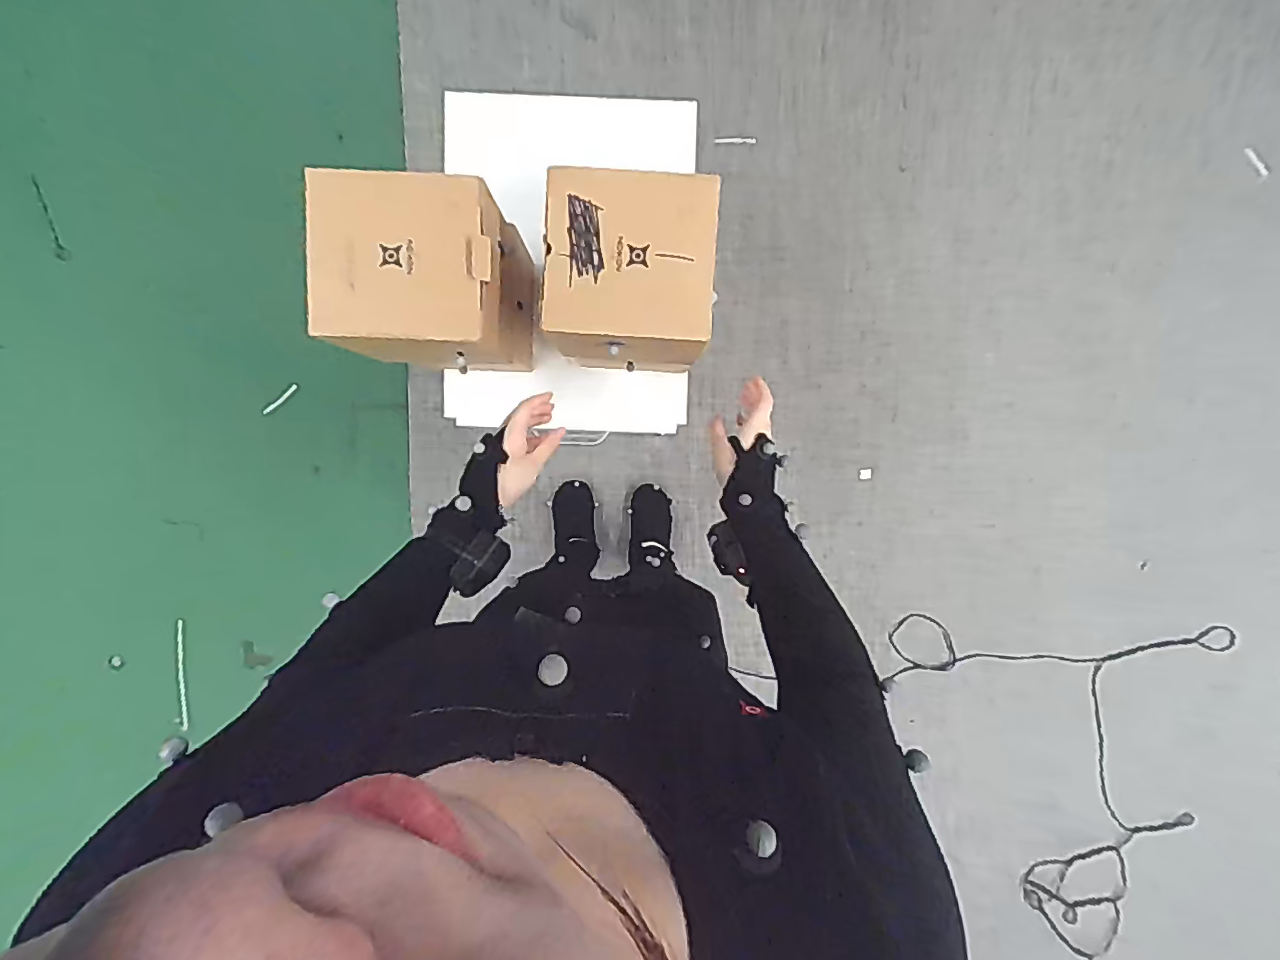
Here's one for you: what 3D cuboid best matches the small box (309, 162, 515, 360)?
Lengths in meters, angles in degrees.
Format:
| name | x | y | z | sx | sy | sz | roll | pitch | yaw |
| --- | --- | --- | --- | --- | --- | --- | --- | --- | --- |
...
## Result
| name | x | y | z | sx | sy | sz | roll | pitch | yaw |
| --- | --- | --- | --- | --- | --- | --- | --- | --- | --- |
| small box | -0.243 | -0.235 | 0.619 | 0.179 | 0.176 | 0.168 | 1 | 94 | -1 |

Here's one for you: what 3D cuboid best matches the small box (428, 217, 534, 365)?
| name | x | y | z | sx | sy | sz | roll | pitch | yaw |
| --- | --- | --- | --- | --- | --- | --- | --- | --- | --- |
| small box | -0.248 | -0.263 | 0.780 | 0.168 | 0.176 | 0.179 | 2 | 95 | -3 |

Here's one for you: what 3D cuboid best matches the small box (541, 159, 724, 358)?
| name | x | y | z | sx | sy | sz | roll | pitch | yaw |
| --- | --- | --- | --- | --- | --- | --- | --- | --- | --- |
| small box | -0.008 | -0.238 | 0.622 | 0.179 | 0.176 | 0.168 | 4 | 95 | -1 |
